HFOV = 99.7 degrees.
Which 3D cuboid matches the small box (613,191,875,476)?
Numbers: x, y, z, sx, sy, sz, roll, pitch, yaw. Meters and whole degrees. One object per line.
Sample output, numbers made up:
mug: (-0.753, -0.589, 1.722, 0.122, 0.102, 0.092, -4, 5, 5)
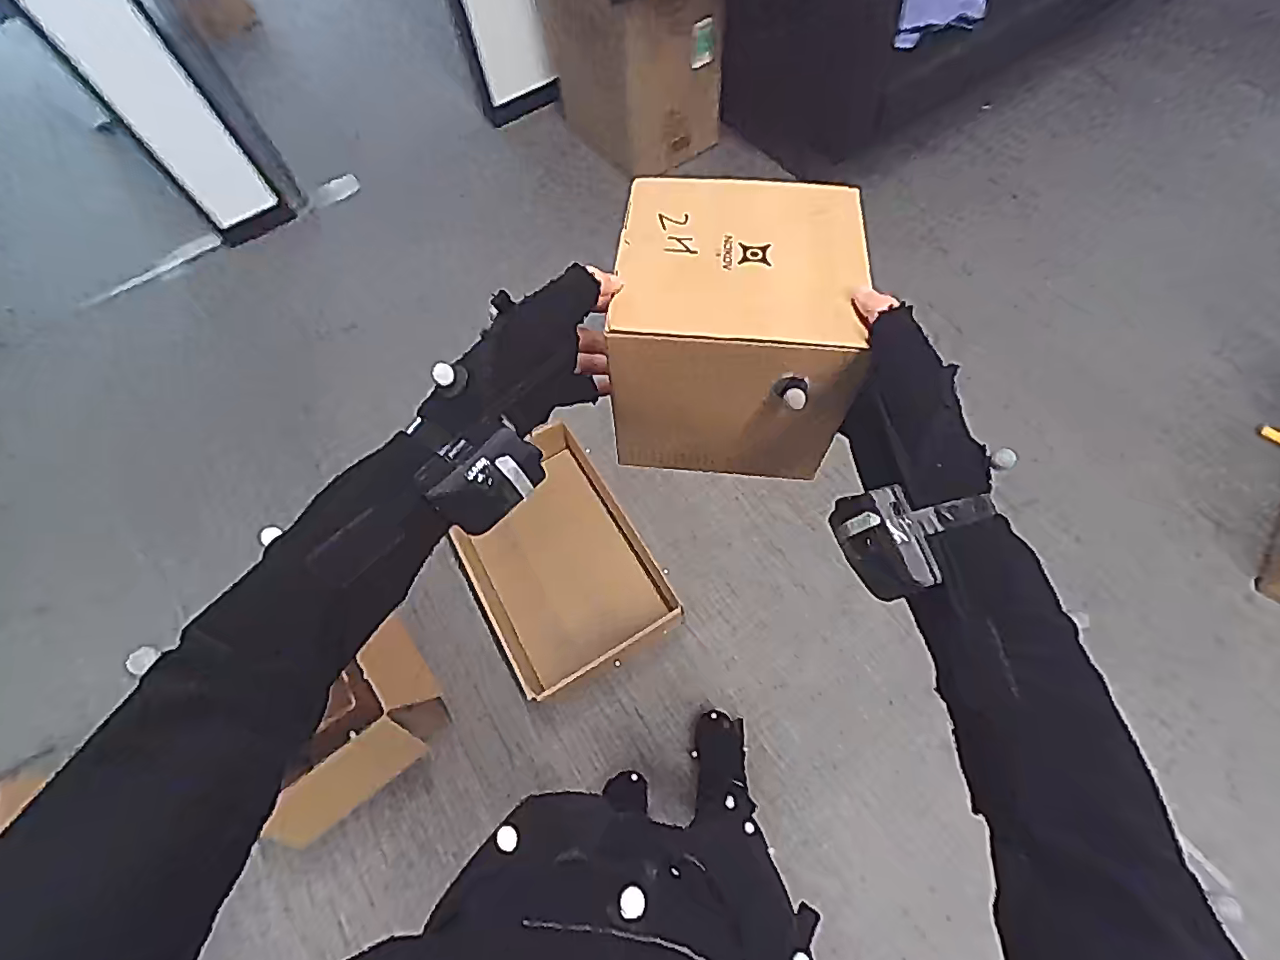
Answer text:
small box: (0.077, -0.116, 0.465, 0.179, 0.176, 0.168, 5, 60, 4)
